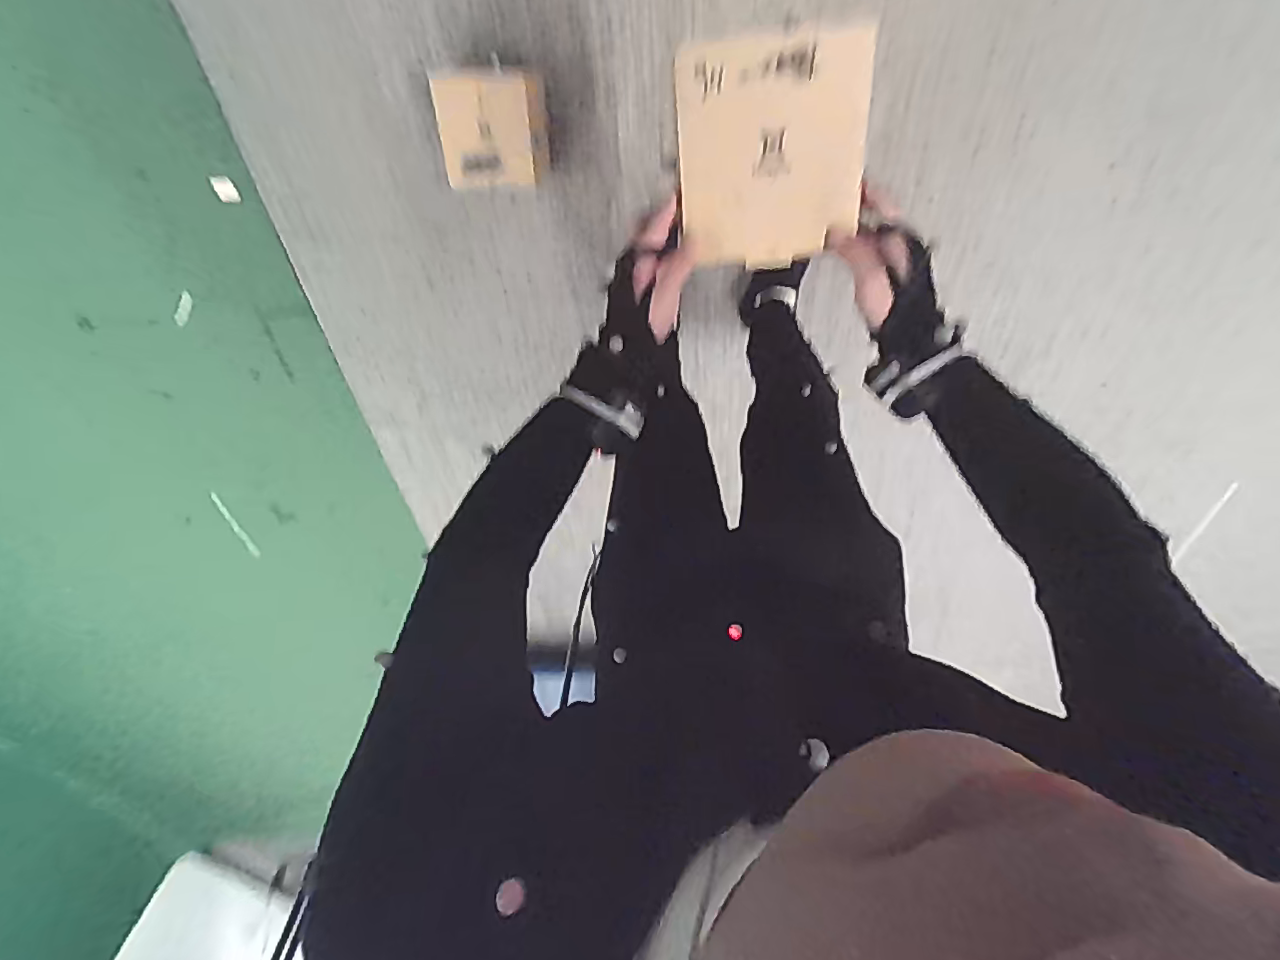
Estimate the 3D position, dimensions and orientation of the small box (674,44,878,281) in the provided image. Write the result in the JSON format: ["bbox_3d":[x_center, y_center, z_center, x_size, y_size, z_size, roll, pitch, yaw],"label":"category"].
[{"bbox_3d":[0.121,-0.315,0.553,0.168,0.176,0.179,-4,120,4],"label":"small box"}]

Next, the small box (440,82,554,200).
[{"bbox_3d":[-0.266,-0.661,1.051,0.168,0.176,0.179,1,128,1],"label":"small box"}]
